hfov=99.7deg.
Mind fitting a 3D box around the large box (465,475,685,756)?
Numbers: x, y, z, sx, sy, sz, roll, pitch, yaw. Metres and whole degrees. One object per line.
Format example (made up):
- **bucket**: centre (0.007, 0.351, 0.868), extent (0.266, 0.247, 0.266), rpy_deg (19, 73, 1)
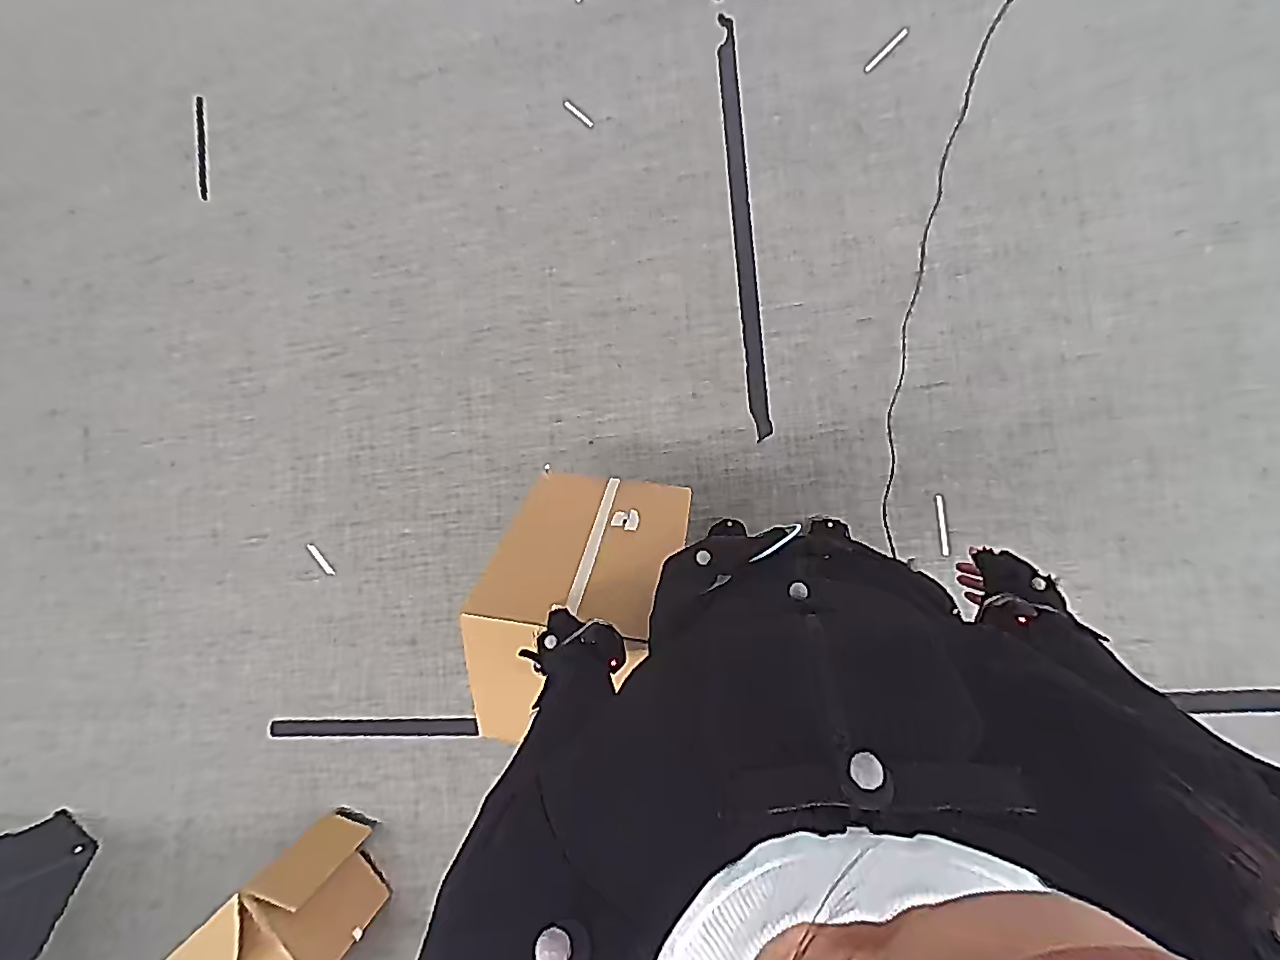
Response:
- **large box**: centre (-0.092, 0.236, 1.027), extent (0.320, 0.408, 0.320), rpy_deg (8, 122, 5)
